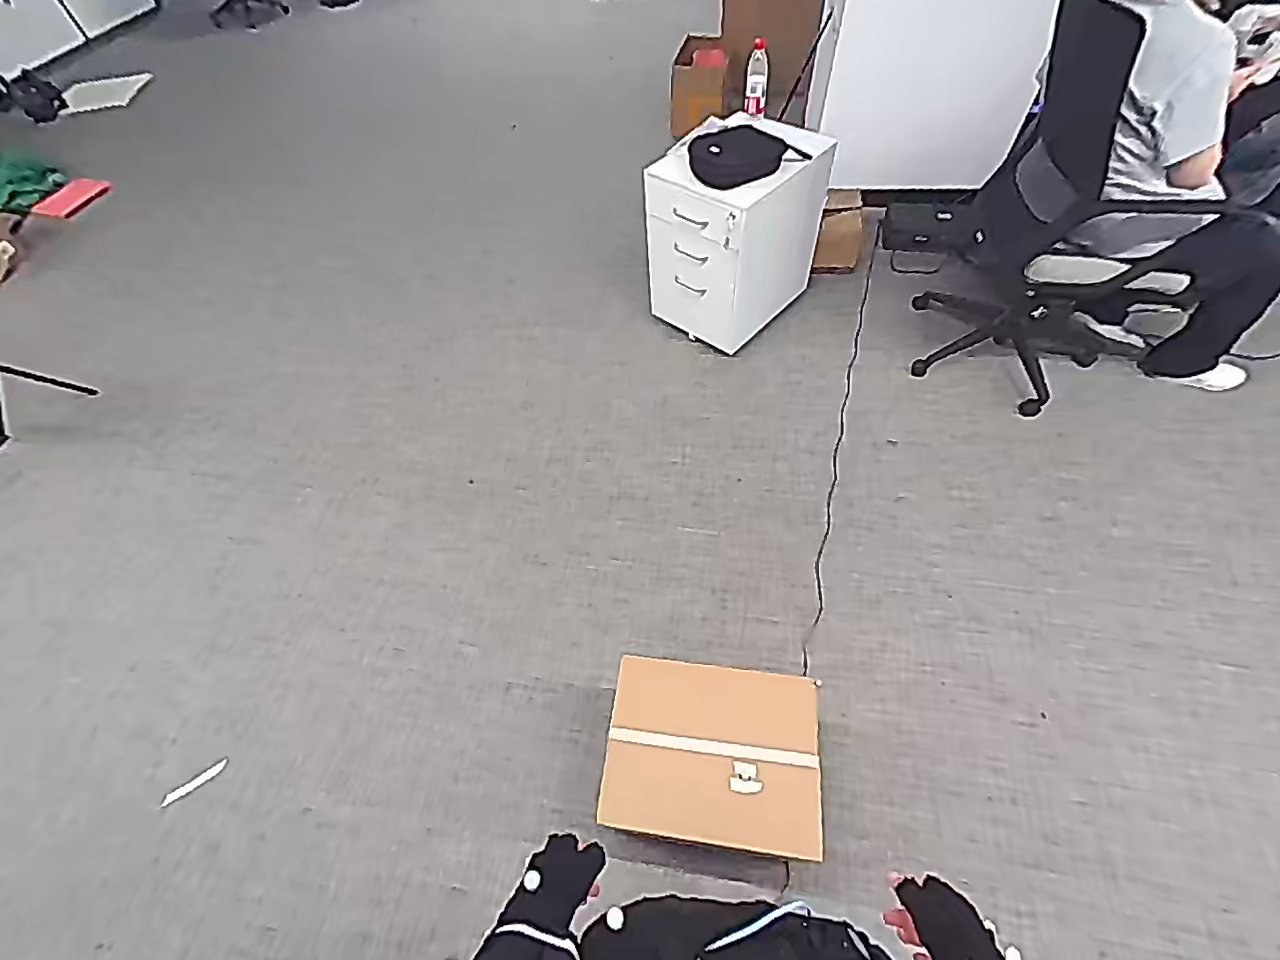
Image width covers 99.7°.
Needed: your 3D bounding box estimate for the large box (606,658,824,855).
[{"bbox_3d":[0.157,0.608,1.183,0.408,0.320,0.320,5,57,7],"label":"large box"}]
